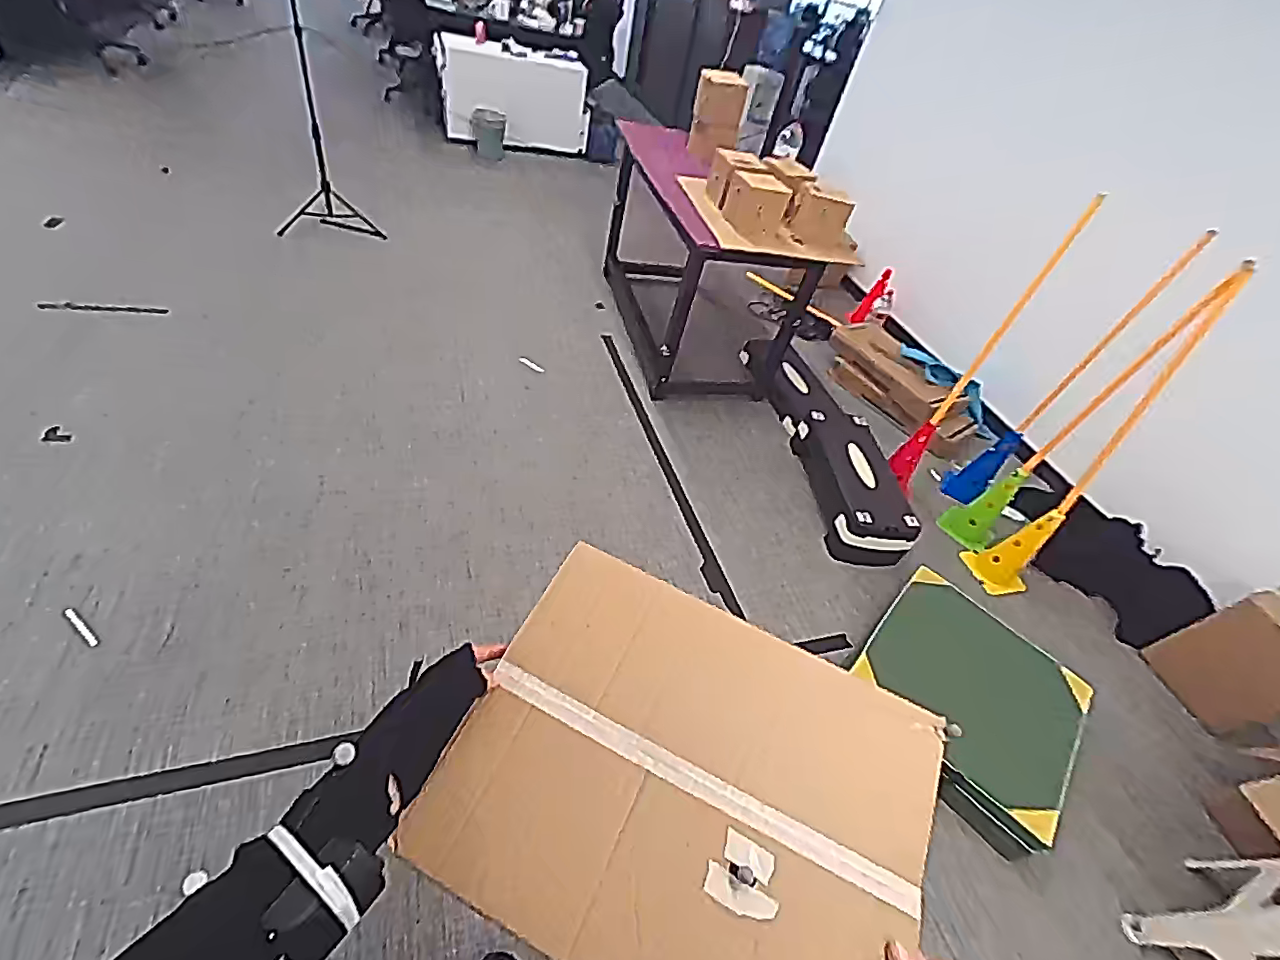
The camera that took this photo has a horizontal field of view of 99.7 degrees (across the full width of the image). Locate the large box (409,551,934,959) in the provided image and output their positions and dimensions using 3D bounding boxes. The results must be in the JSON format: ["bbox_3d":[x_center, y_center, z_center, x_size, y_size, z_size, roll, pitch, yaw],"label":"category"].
[{"bbox_3d":[0.035,0.347,0.612,0.408,0.320,0.320,25,58,11],"label":"large box"}]
